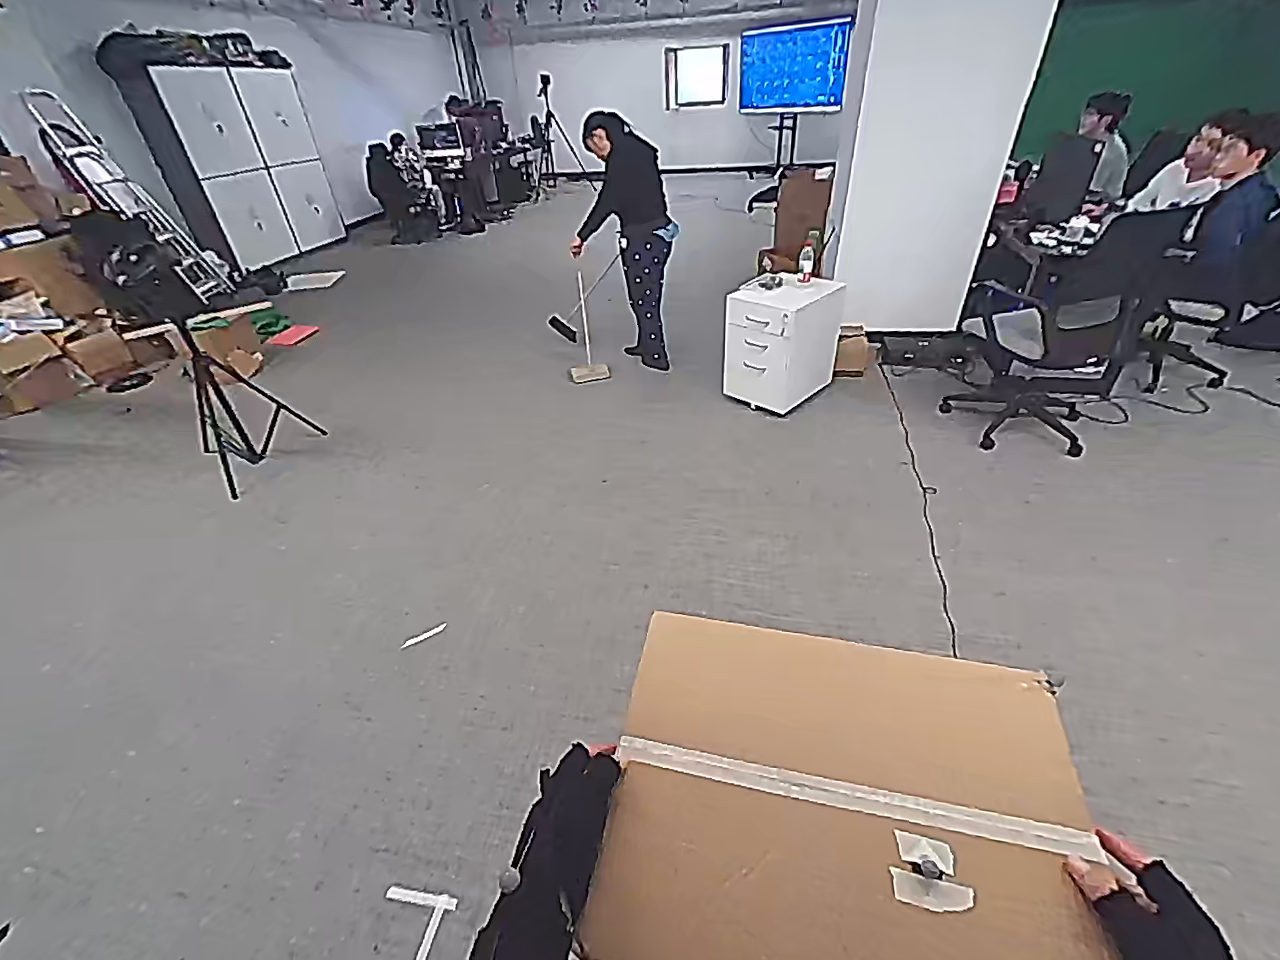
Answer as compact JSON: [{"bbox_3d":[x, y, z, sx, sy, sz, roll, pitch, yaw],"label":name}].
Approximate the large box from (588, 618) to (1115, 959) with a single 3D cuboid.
[{"bbox_3d":[0.190,0.394,0.601,0.408,0.320,0.320,6,45,13],"label":"large box"}]
